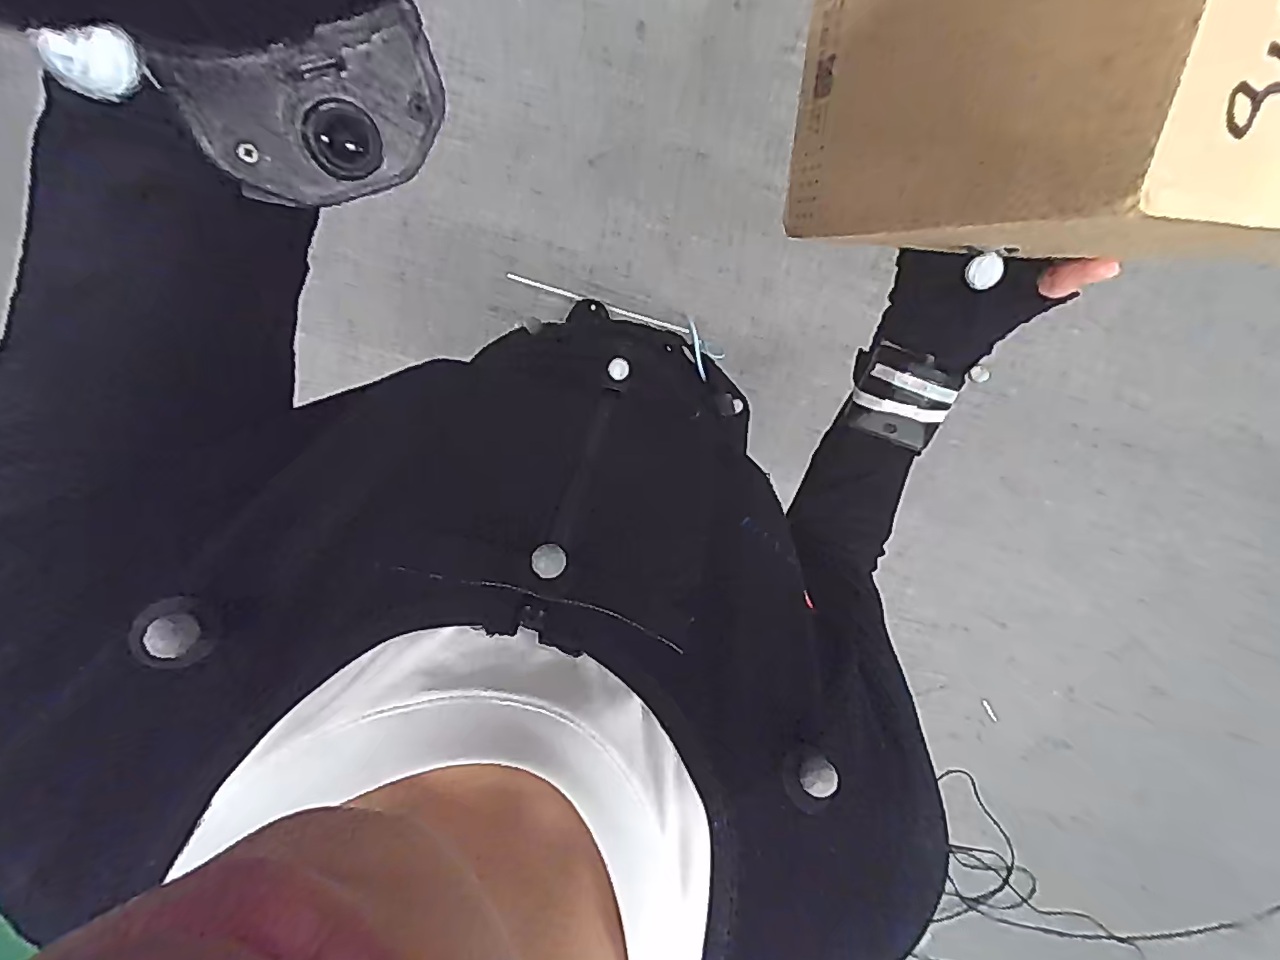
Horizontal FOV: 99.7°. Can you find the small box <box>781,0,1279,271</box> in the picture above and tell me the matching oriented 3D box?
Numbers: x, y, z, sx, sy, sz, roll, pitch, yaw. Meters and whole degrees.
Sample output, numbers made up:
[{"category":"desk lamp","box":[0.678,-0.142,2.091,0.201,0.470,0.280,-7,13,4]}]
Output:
[{"category":"small box","box":[0.177,-0.168,0.184,0.179,0.176,0.168,-1,114,-15]}]
